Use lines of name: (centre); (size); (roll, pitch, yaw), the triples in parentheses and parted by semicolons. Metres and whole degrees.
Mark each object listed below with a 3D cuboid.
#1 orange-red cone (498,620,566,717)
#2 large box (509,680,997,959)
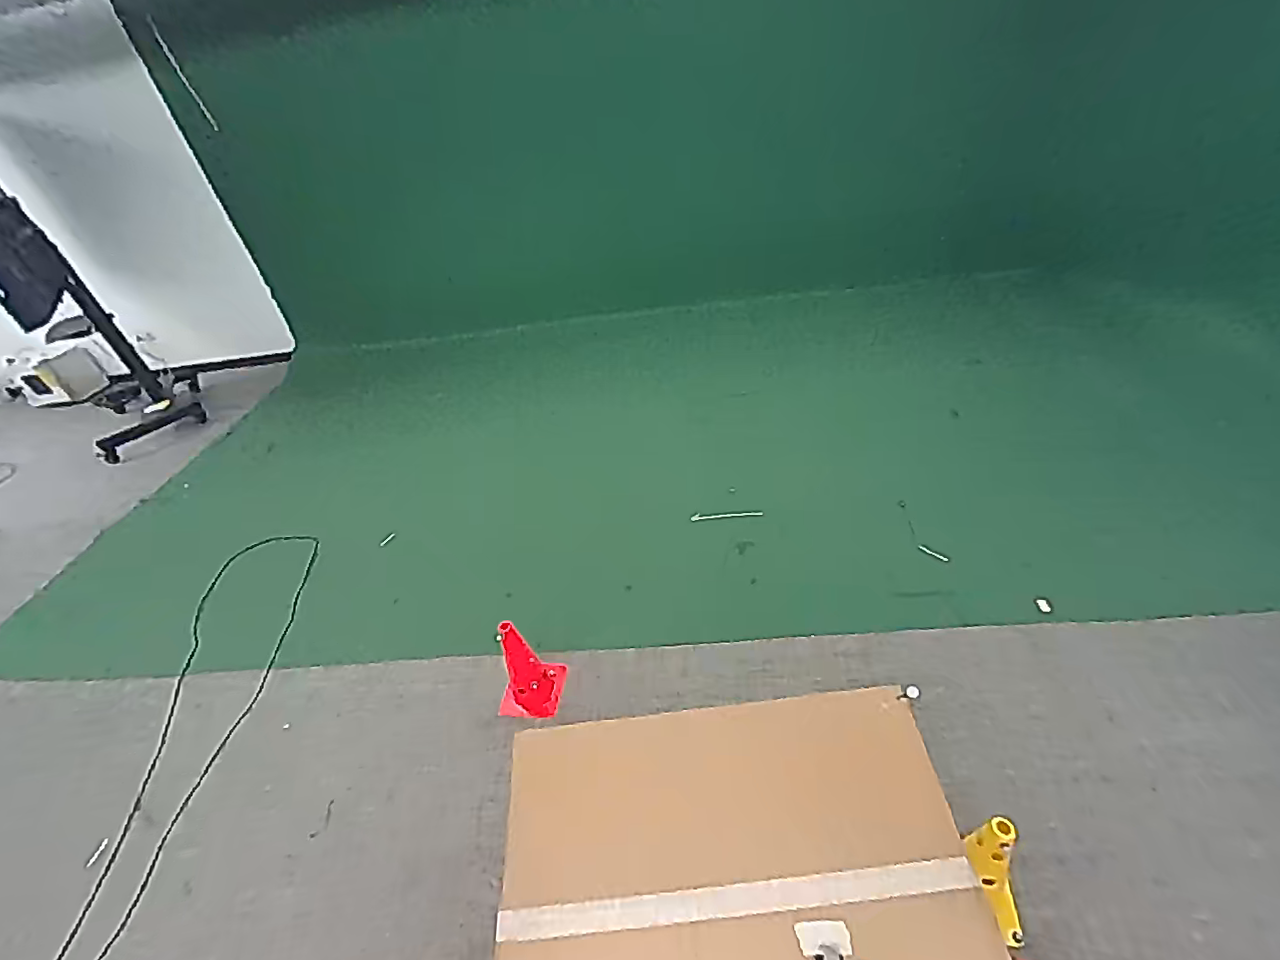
orange-red cone: (-0.393, 0.584, 1.757); (0.199, 0.360, 0.198); (-2, 38, 13)
large box: (0.095, 0.448, 0.590); (0.408, 0.320, 0.320); (-8, 52, 1)
